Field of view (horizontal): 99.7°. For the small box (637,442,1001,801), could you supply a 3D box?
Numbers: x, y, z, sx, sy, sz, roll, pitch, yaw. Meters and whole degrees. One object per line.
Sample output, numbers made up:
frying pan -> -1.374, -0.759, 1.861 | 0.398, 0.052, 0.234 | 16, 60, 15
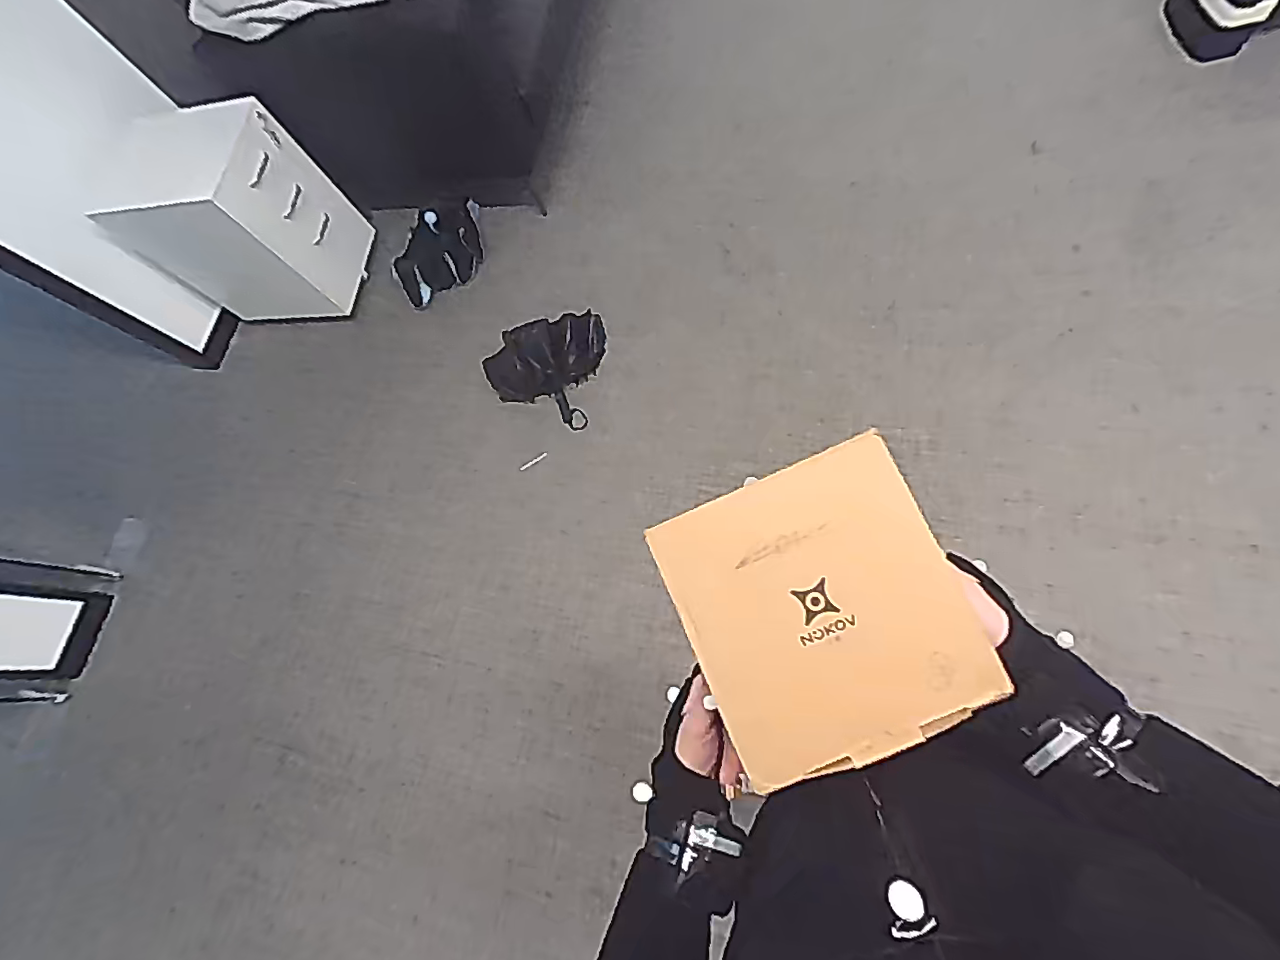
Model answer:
small box -> 0.115, 0.096, 0.413 | 0.168, 0.176, 0.179 | -25, 78, 2
